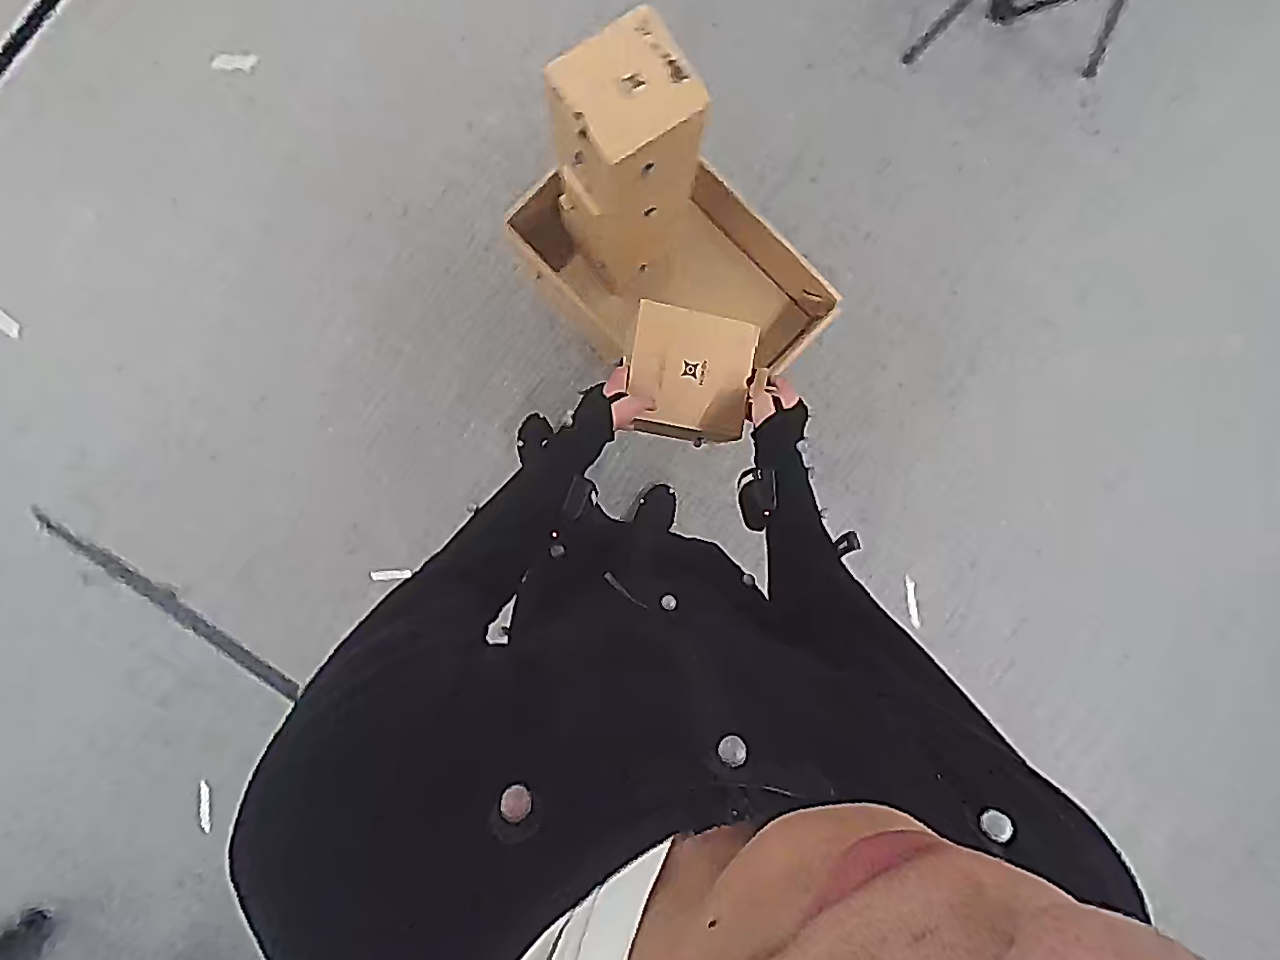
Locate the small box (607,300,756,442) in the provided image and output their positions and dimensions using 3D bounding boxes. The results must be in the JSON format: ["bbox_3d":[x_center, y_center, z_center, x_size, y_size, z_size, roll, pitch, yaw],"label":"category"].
[{"bbox_3d":[0.054,-0.153,0.826,0.179,0.176,0.168,10,89,-9],"label":"small box"}]

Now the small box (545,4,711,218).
[{"bbox_3d":[-0.017,-0.537,0.816,0.179,0.176,0.168,-33,91,-2],"label":"small box"}]

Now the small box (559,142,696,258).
[{"bbox_3d":[-0.022,-0.540,0.980,0.179,0.176,0.168,-37,91,-4],"label":"small box"}]
